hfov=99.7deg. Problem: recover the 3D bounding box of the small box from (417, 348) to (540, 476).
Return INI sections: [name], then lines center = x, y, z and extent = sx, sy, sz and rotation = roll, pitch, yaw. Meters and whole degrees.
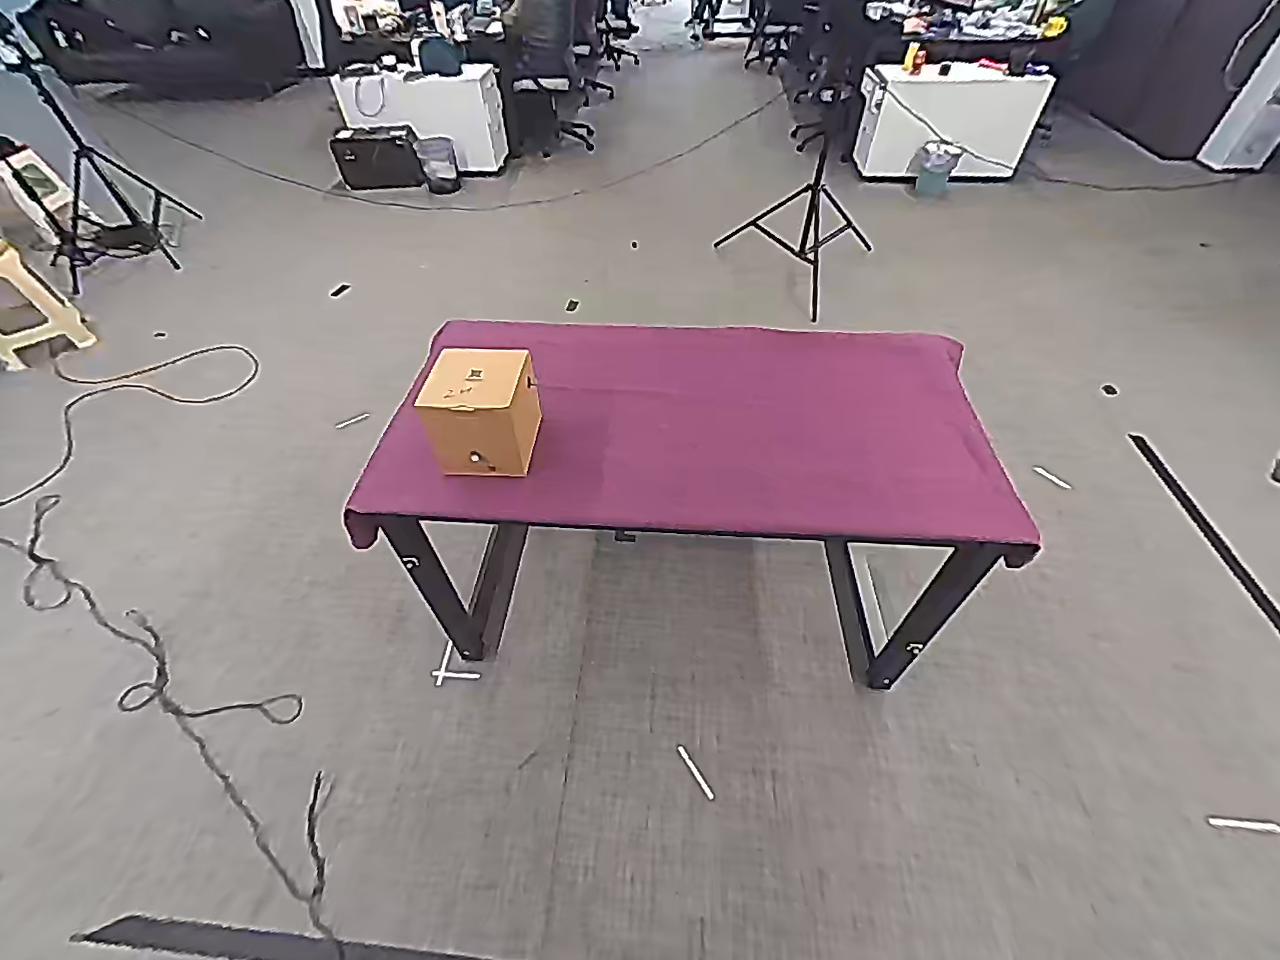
[small box]
center = -0.291, -0.128, 1.021
extent = 0.168, 0.176, 0.179
rotation = 1, 48, 3
